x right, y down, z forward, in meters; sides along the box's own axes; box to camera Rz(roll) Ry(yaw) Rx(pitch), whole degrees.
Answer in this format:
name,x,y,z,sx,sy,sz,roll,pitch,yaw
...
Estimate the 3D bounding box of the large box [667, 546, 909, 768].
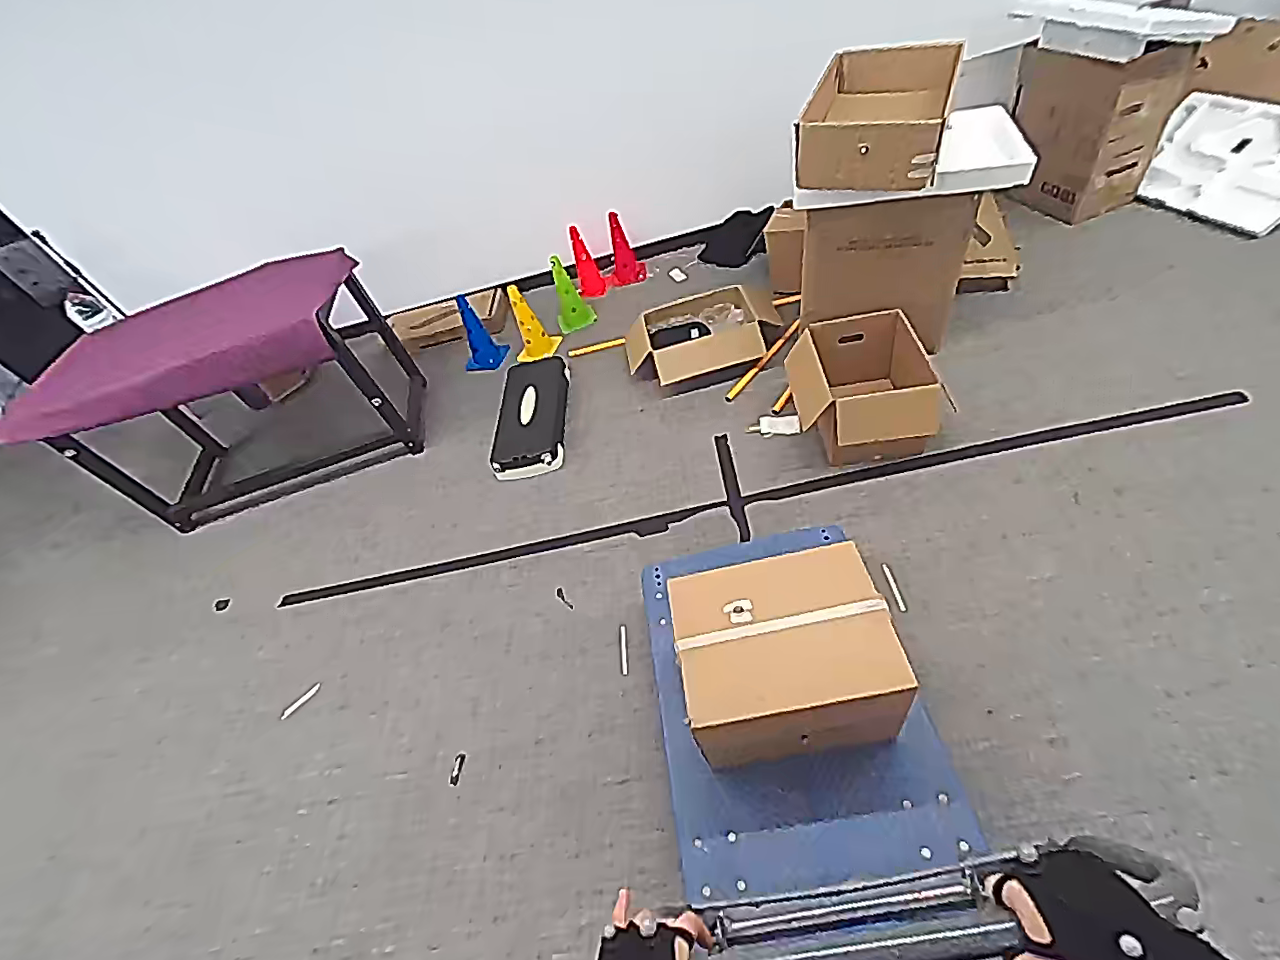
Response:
name,x,y,z,sx,sy,sz,roll,pitch,yaw
large box,0.304,0.394,1.178,0.408,0.320,0.320,-14,47,6
